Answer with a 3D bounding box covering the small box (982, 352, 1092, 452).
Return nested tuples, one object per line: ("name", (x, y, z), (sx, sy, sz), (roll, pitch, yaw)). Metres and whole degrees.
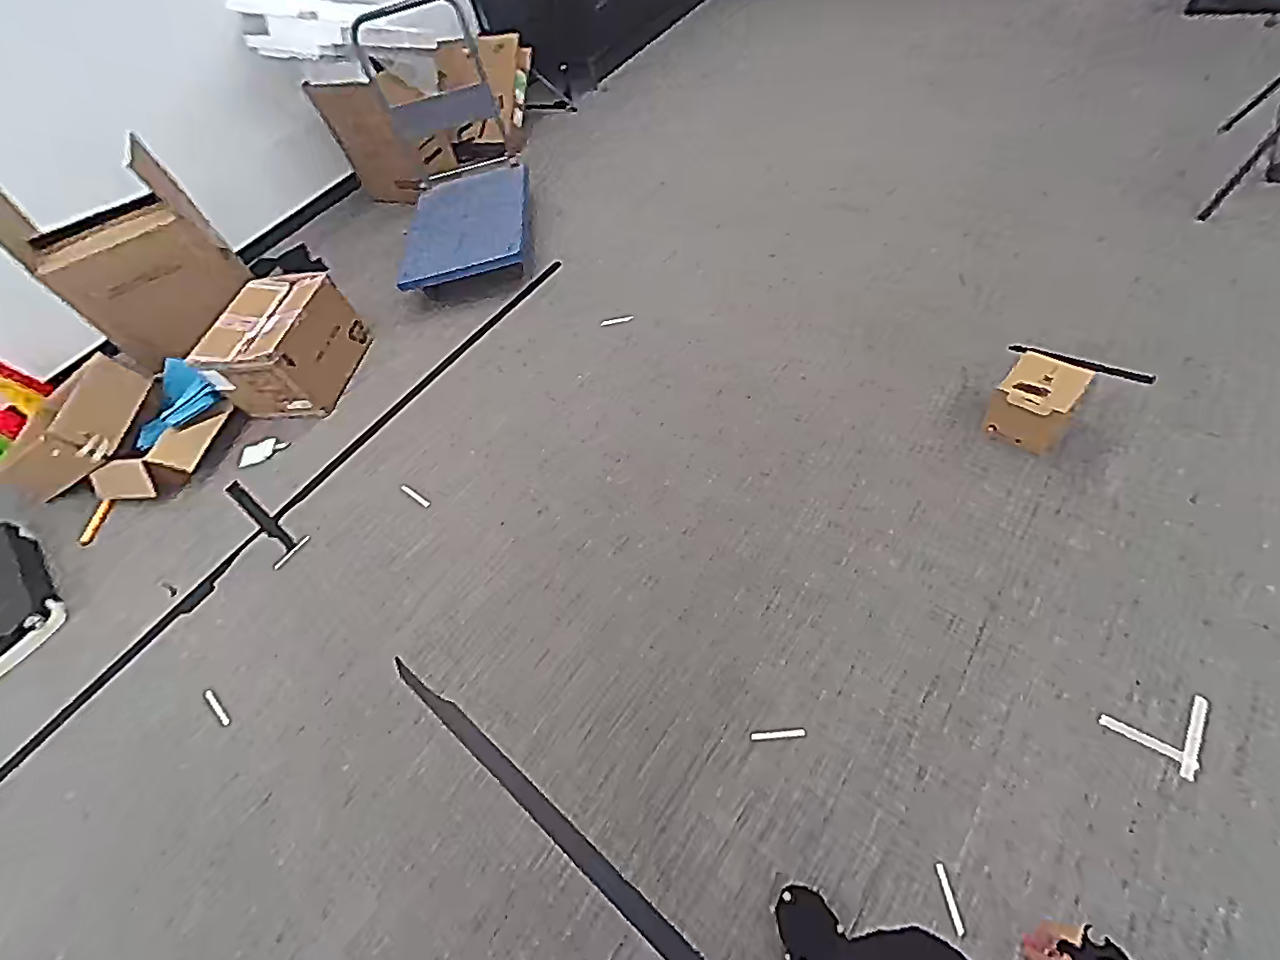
("small box", (1.062, -0.206, 1.463), (0.168, 0.176, 0.179), (35, 70, 32))
